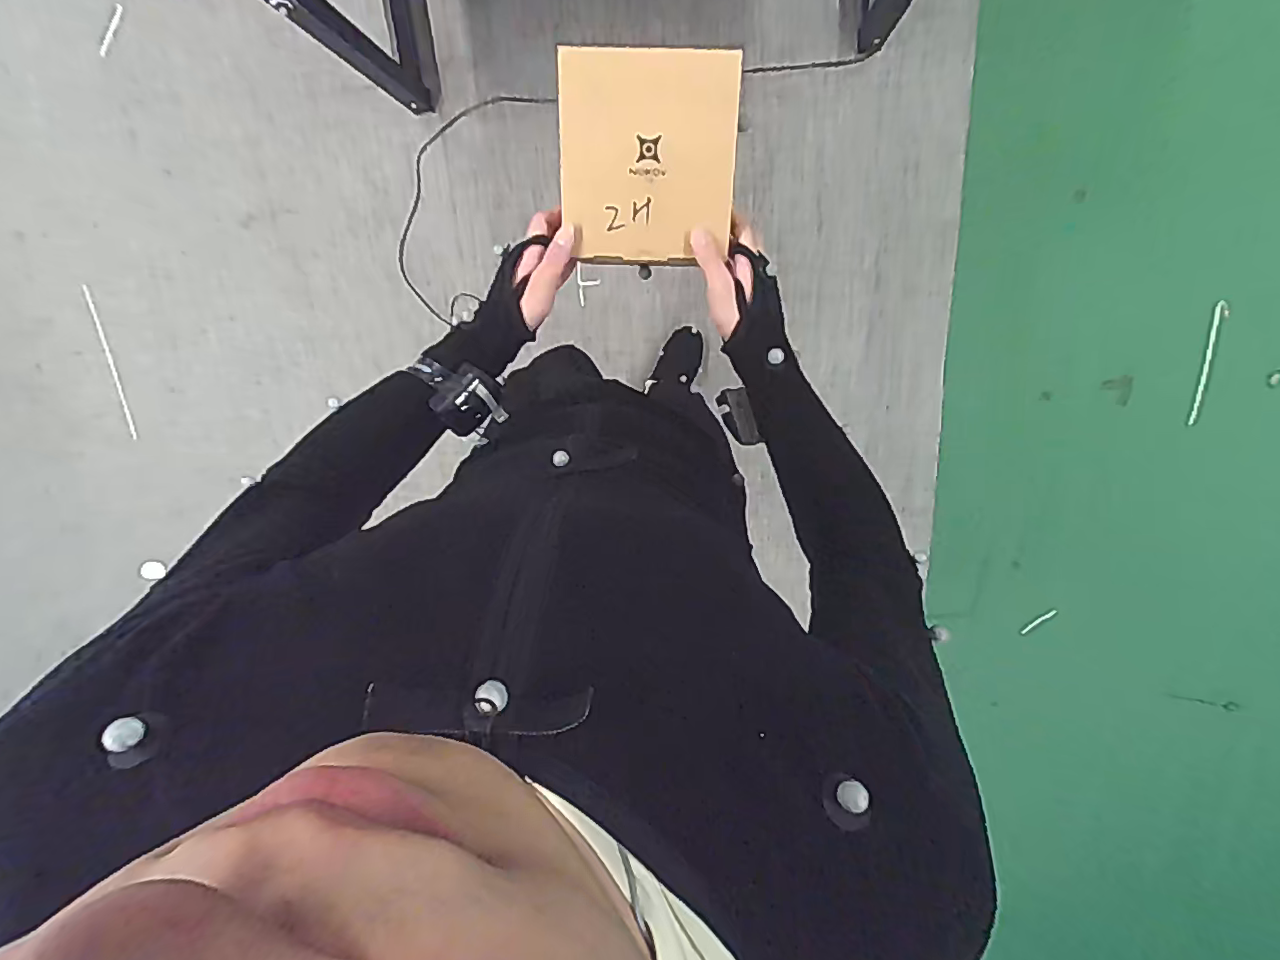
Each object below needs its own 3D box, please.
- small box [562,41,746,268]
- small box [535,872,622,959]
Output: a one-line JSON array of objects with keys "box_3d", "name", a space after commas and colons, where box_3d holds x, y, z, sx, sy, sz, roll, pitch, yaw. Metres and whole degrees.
[{"box_3d": [0.010, -0.325, 0.575, 0.168, 0.176, 0.179, 2, 110, 1], "name": "small box"}, {"box_3d": [-0.135, 1.061, 1.267, 0.179, 0.176, 0.168, 1, 105, 6], "name": "small box"}]
